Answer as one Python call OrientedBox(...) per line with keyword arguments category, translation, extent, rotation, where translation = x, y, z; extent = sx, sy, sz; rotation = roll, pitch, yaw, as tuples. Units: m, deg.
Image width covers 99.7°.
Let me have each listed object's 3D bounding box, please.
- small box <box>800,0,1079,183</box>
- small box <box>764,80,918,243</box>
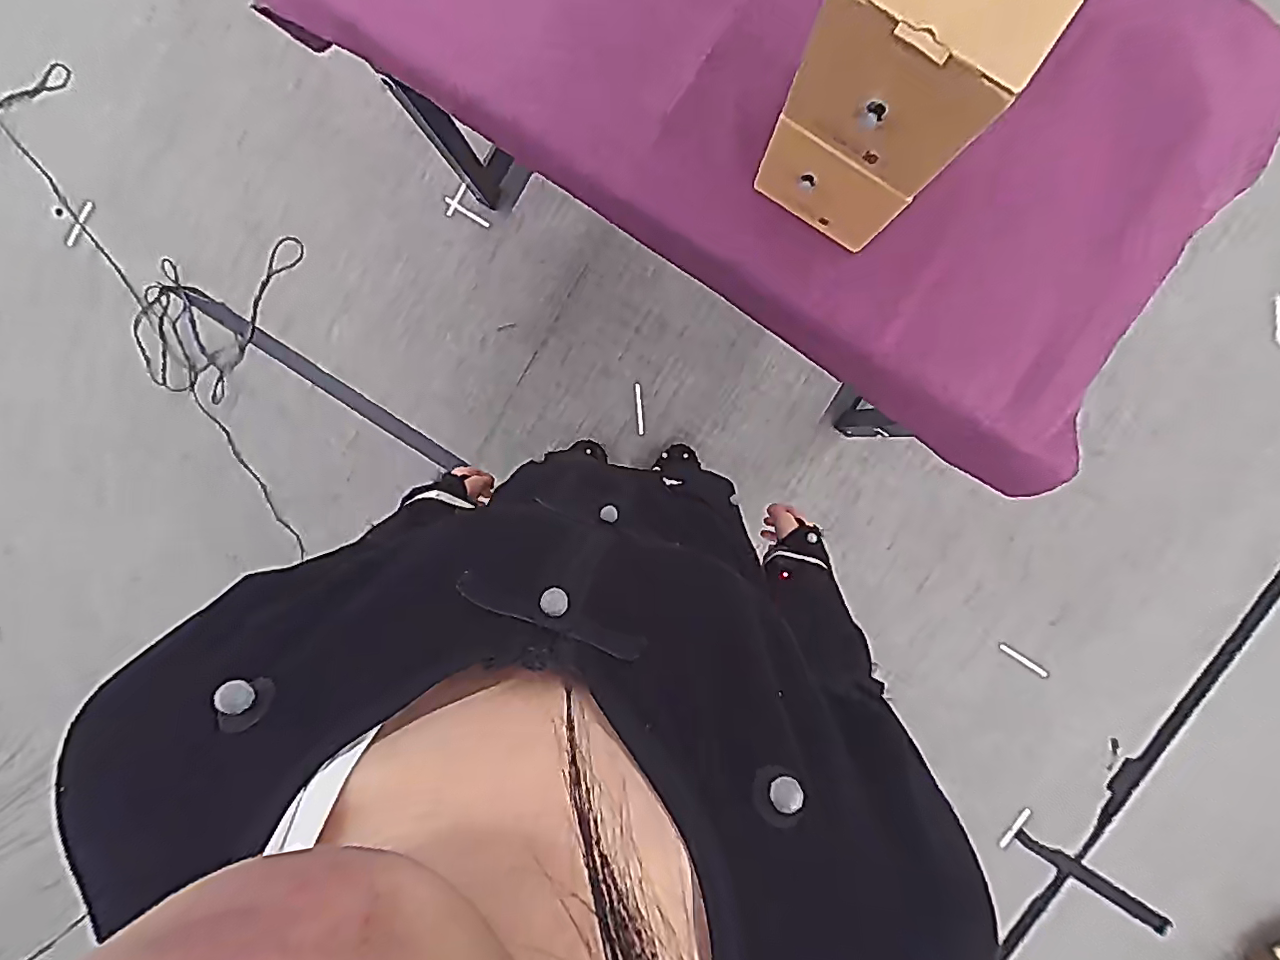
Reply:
OrientedBox(category="small box", translation=(0.261, -0.406, 0.472), extent=(0.168, 0.176, 0.179), rotation=(34, 95, -1))
OrientedBox(category="small box", translation=(0.264, -0.416, 0.636), extent=(0.168, 0.176, 0.179), rotation=(33, 95, -1))
